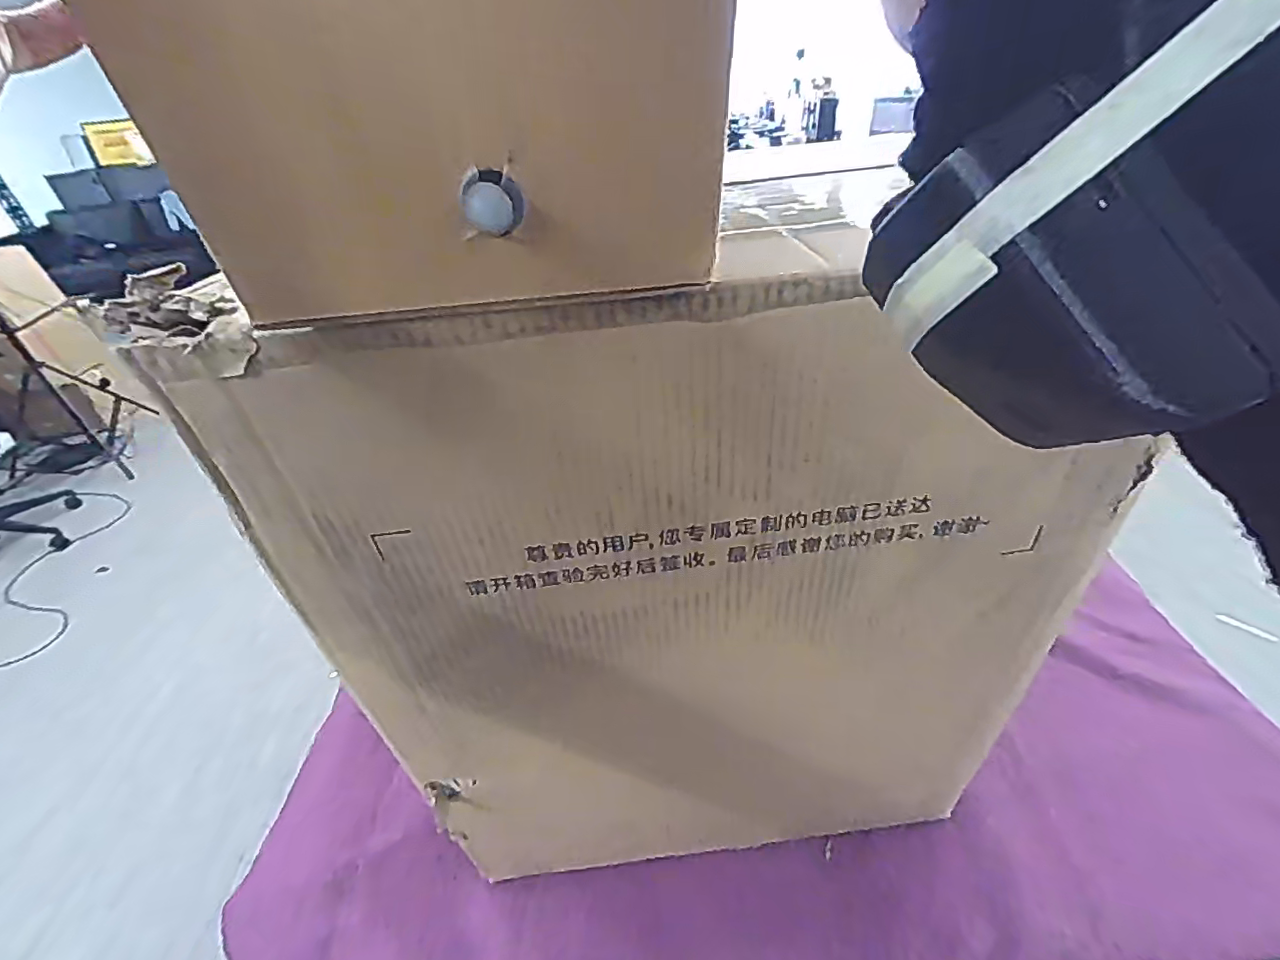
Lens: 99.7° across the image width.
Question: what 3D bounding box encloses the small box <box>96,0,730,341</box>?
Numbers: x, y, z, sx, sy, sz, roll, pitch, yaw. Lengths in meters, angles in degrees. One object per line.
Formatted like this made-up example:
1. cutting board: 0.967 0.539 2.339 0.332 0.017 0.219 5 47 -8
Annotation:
1. small box: -0.070 -0.176 0.210 0.179 0.176 0.168 -7 46 -4
